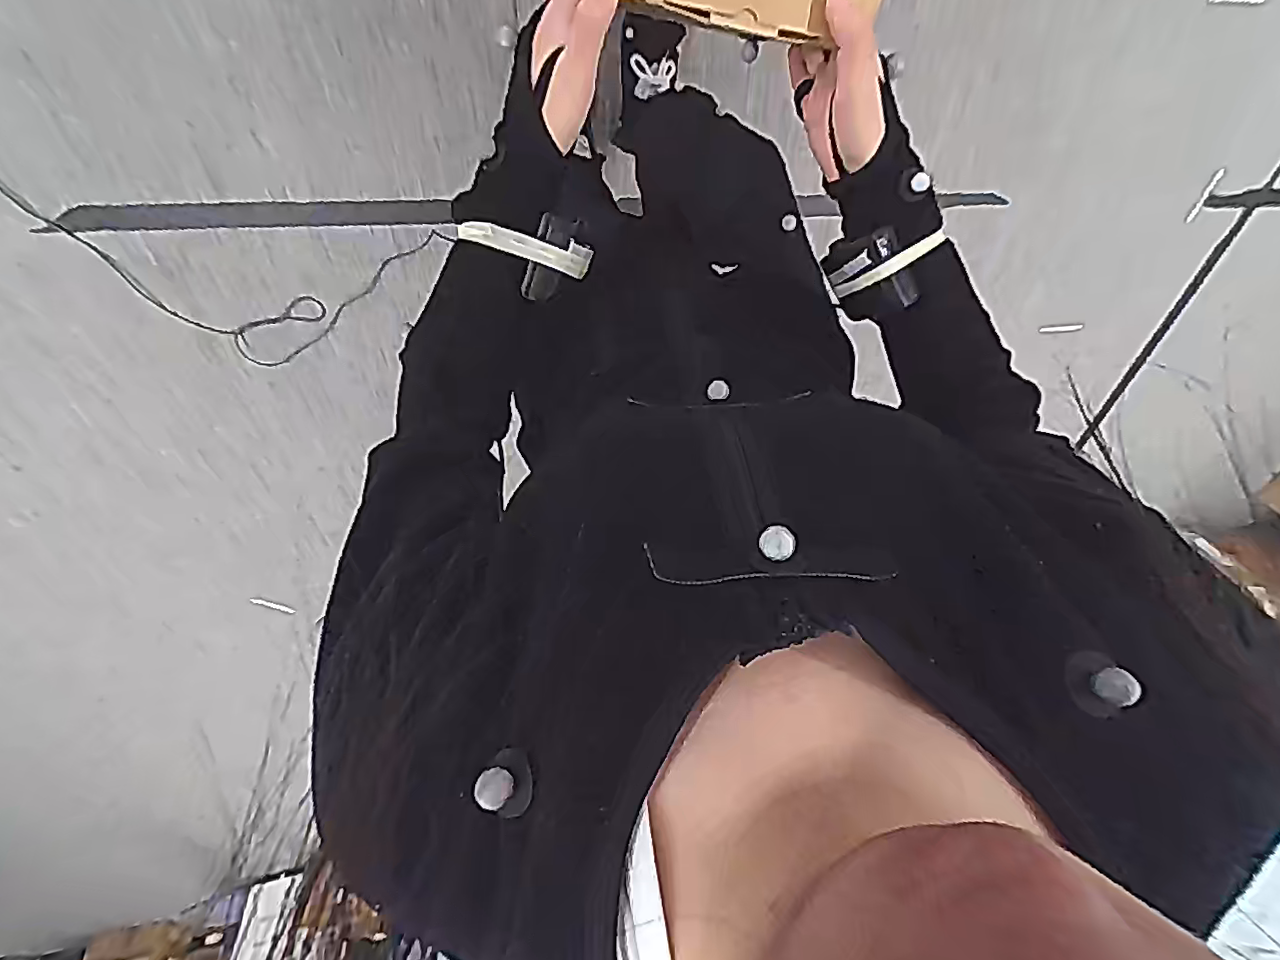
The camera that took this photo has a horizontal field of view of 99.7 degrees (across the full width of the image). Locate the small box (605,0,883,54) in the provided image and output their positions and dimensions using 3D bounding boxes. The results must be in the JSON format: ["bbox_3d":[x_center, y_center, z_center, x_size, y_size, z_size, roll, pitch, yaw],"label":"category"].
[{"bbox_3d":[0.061,-0.384,0.323,0.168,0.176,0.179,-1,130,-16],"label":"small box"}]
